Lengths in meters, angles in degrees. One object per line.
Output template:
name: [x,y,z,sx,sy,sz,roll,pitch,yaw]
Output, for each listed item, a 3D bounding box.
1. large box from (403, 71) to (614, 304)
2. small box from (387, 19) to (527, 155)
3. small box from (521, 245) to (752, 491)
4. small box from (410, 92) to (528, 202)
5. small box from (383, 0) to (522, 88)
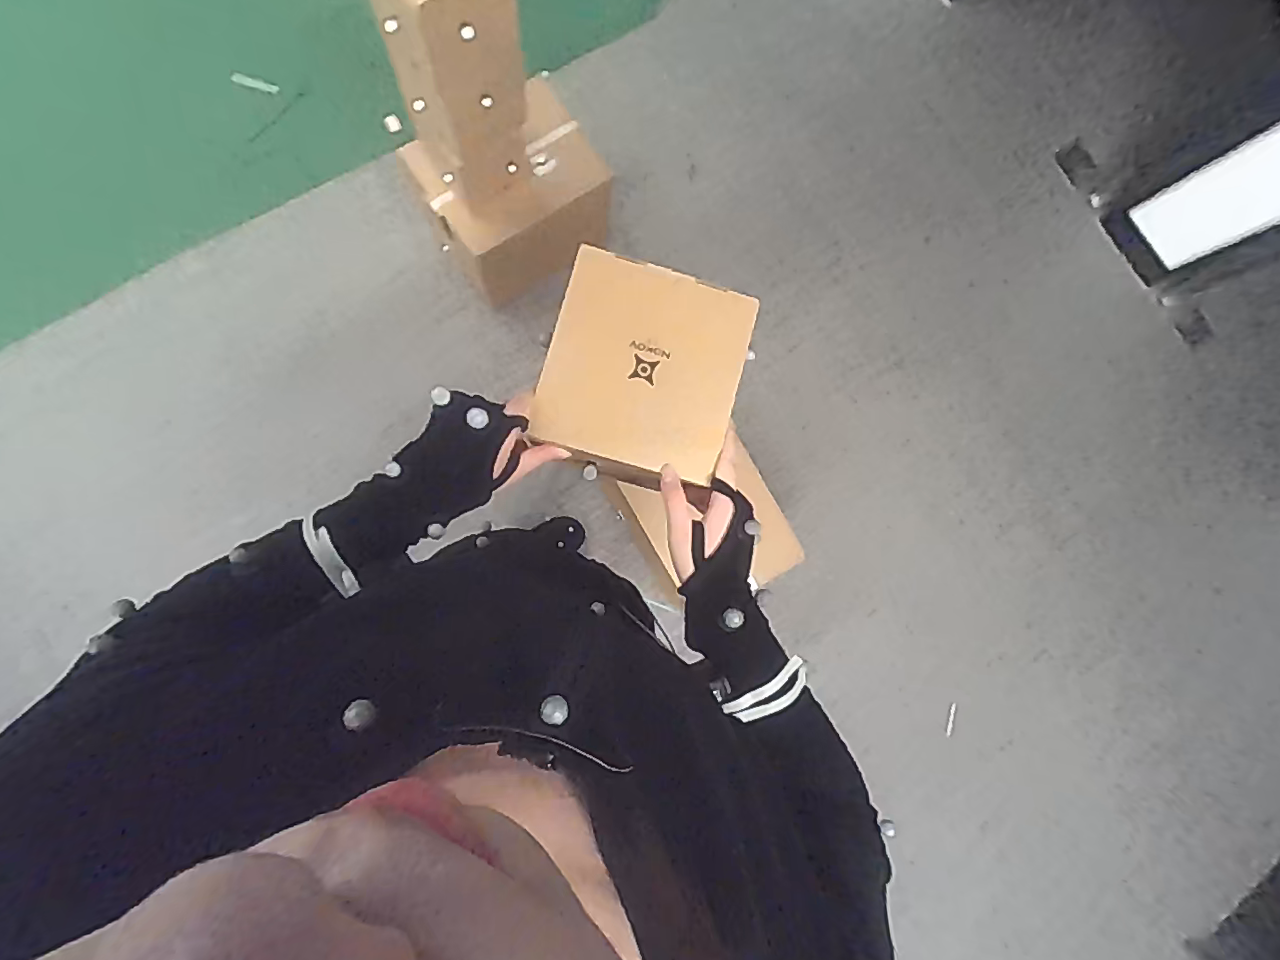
large box: [-0.328,-0.743,1.424,0.408,0.320,0.320,-35,91,-11]
small box: [-0.328,-0.761,1.012,0.179,0.176,0.168,-41,92,-11]
small box: [-0.008,-0.092,0.541,0.168,0.176,0.179,15,83,-5]
small box: [-0.358,-0.741,1.172,0.168,0.176,0.179,-36,90,-11]
small box: [-0.303,-0.775,0.850,0.179,0.176,0.168,-38,91,-10]
